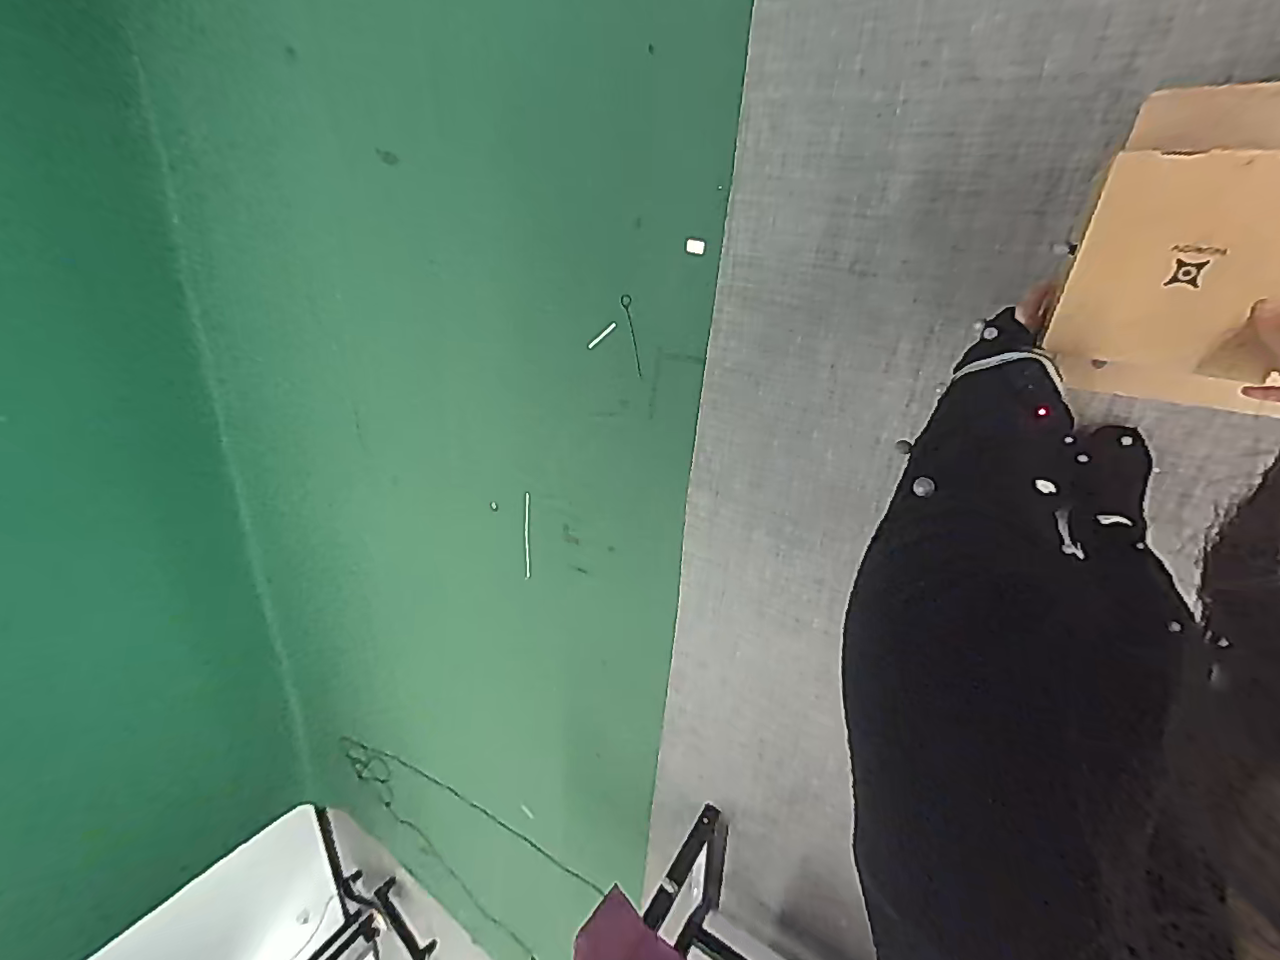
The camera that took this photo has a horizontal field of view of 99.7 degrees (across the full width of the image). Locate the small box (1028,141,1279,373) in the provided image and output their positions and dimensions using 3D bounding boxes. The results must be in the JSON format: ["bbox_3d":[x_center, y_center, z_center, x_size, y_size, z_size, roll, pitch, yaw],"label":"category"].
[{"bbox_3d":[0.515,-0.221,0.537,0.168,0.176,0.179,20,118,27],"label":"small box"}]
